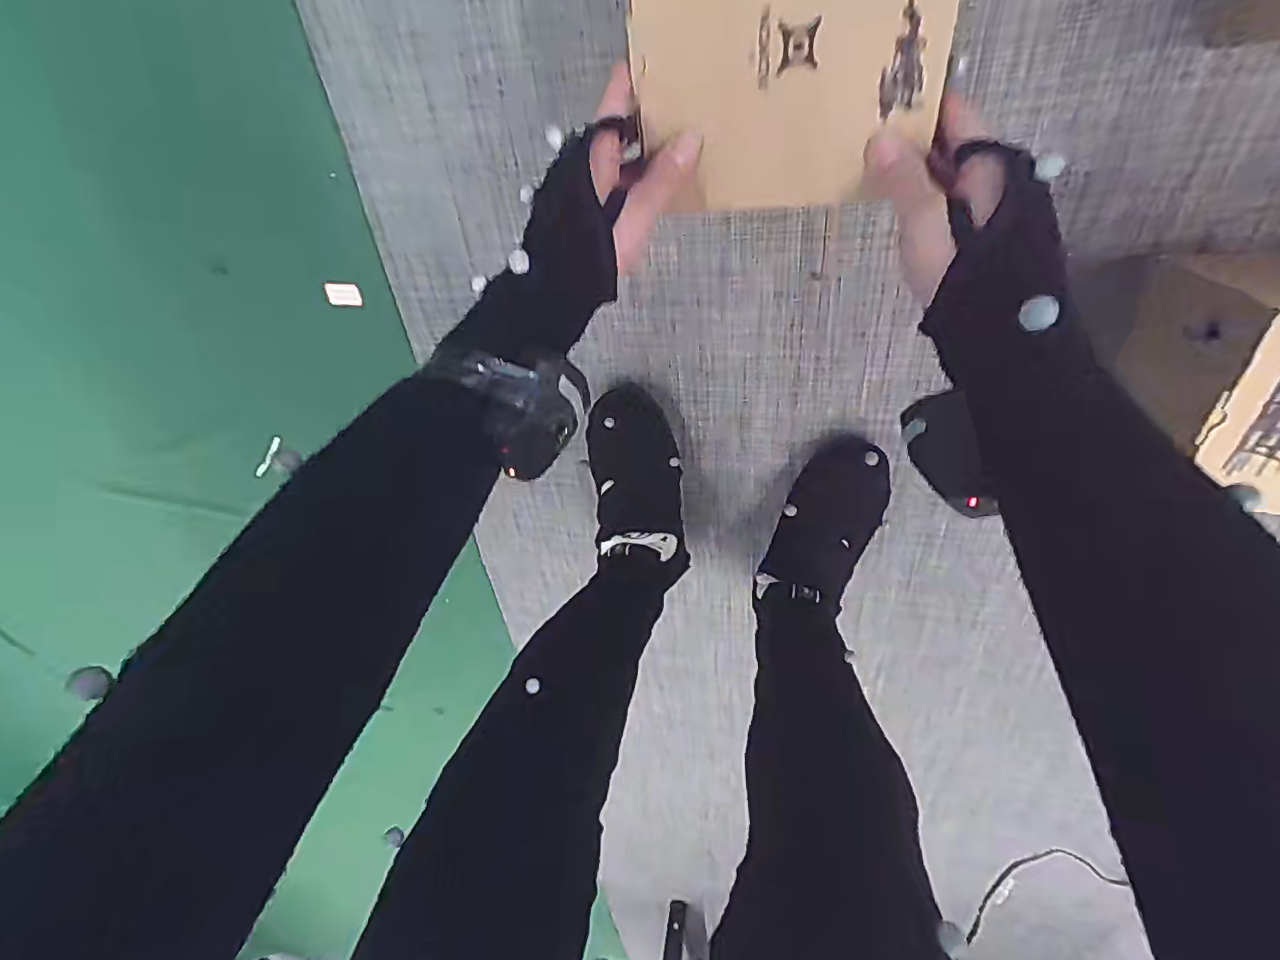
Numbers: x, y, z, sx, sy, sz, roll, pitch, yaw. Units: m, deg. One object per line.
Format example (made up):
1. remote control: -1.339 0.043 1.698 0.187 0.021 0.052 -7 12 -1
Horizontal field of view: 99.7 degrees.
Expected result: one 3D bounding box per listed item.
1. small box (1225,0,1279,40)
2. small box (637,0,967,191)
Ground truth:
1. small box: 0.488 -0.346 0.275 0.179 0.176 0.168 3 124 15
2. small box: 0.103 -0.299 0.355 0.179 0.176 0.168 5 130 14
